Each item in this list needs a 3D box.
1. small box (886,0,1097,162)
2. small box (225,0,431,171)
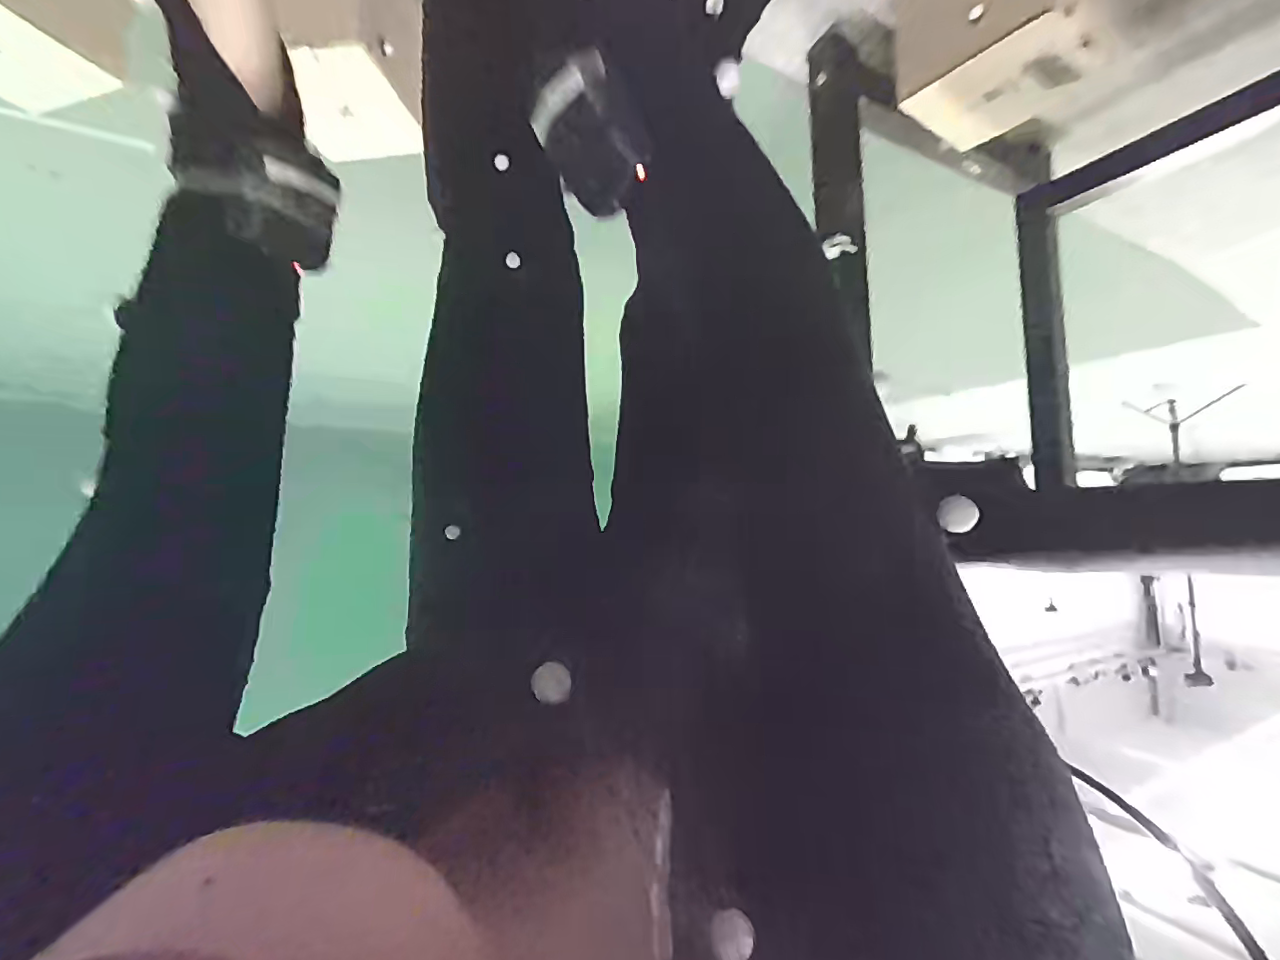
[{"bbox_3d":[0.435,-0.556,0.684,0.168,0.176,0.179,3,174,-34],"label":"small box"},{"bbox_3d":[-0.386,-0.540,0.701,0.168,0.176,0.179,-2,174,7],"label":"small box"}]
